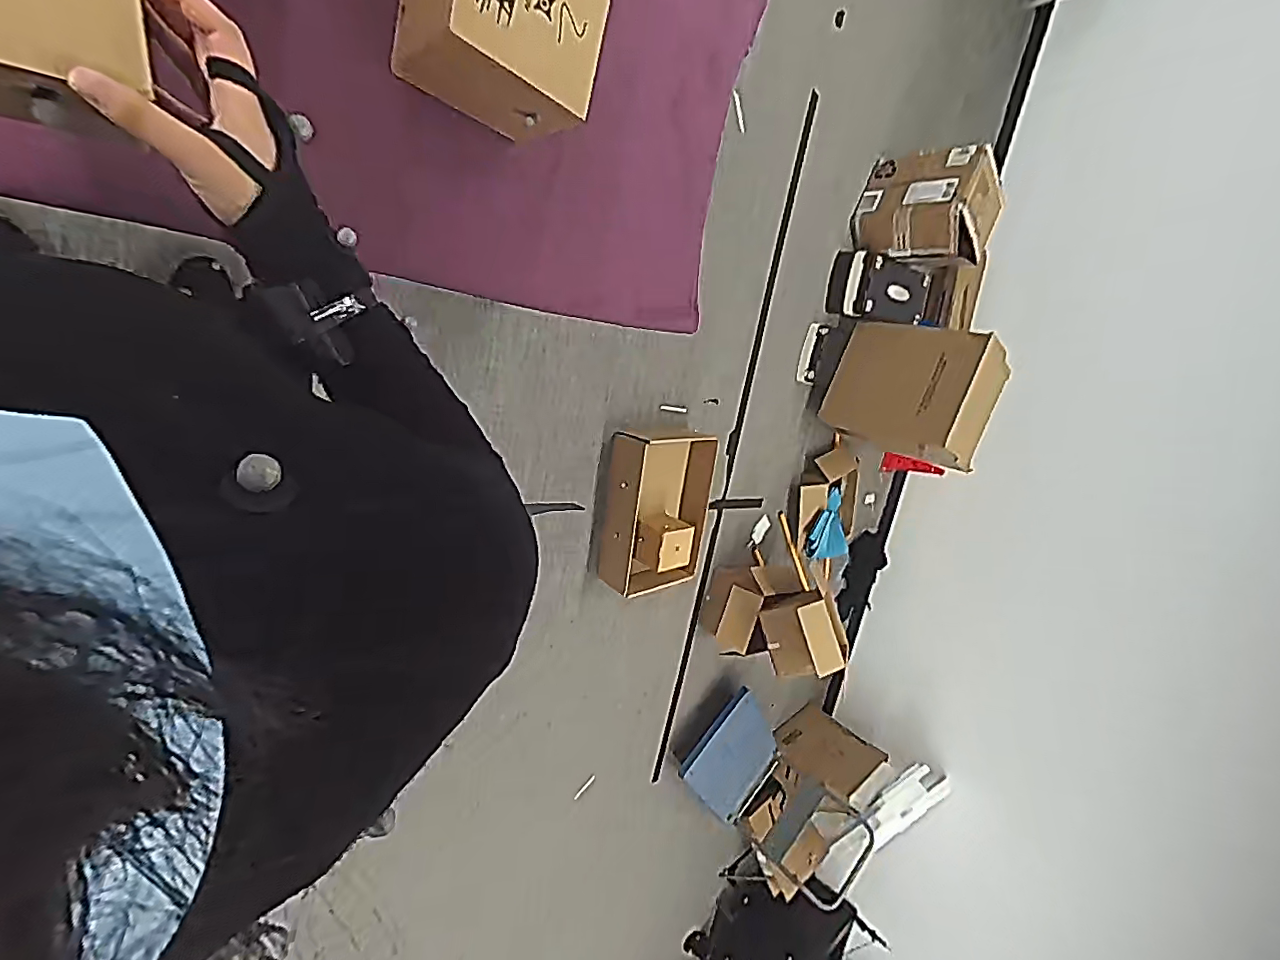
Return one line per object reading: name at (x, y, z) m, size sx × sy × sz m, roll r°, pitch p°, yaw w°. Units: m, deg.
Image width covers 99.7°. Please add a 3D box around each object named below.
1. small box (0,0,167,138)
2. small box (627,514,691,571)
small box at (-0.377, -0.301, 0.282) m, size 0.179 × 0.176 × 0.168 m, roll -8°, pitch 112°, yaw -41°
small box at (0.075, 0.244, 2.160) m, size 0.179 × 0.176 × 0.168 m, roll -6°, pitch 111°, yaw -42°
